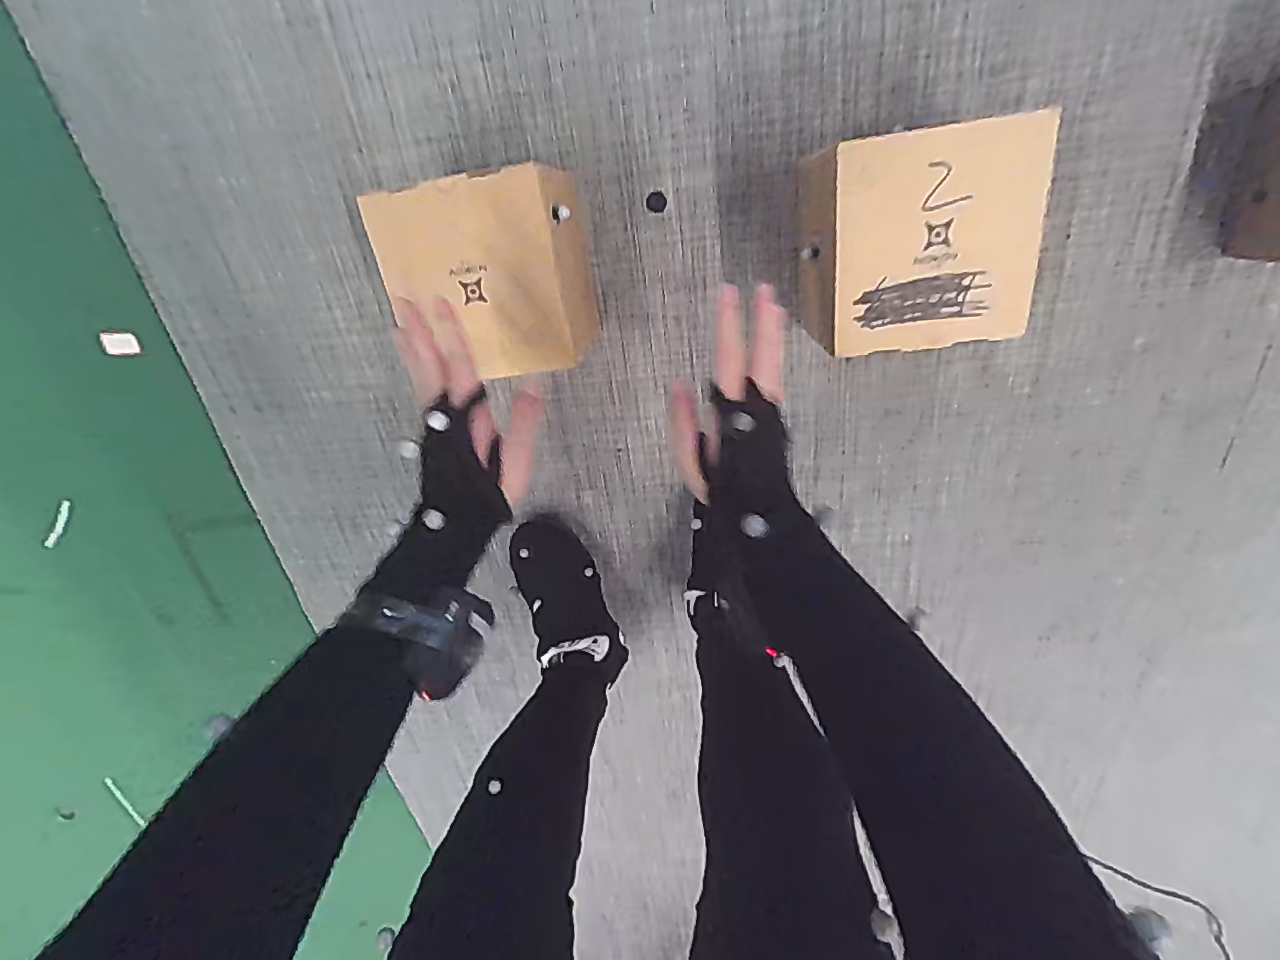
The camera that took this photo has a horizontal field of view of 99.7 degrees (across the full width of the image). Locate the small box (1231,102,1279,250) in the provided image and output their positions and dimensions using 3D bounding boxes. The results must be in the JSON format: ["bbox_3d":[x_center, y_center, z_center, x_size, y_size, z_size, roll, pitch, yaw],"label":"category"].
[{"bbox_3d":[0.696,-0.293,0.467,0.179,0.176,0.168,-5,116,7],"label":"small box"}]

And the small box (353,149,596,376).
[{"bbox_3d":[-0.148,-0.221,0.558,0.168,0.176,0.179,-6,115,7],"label":"small box"}]
